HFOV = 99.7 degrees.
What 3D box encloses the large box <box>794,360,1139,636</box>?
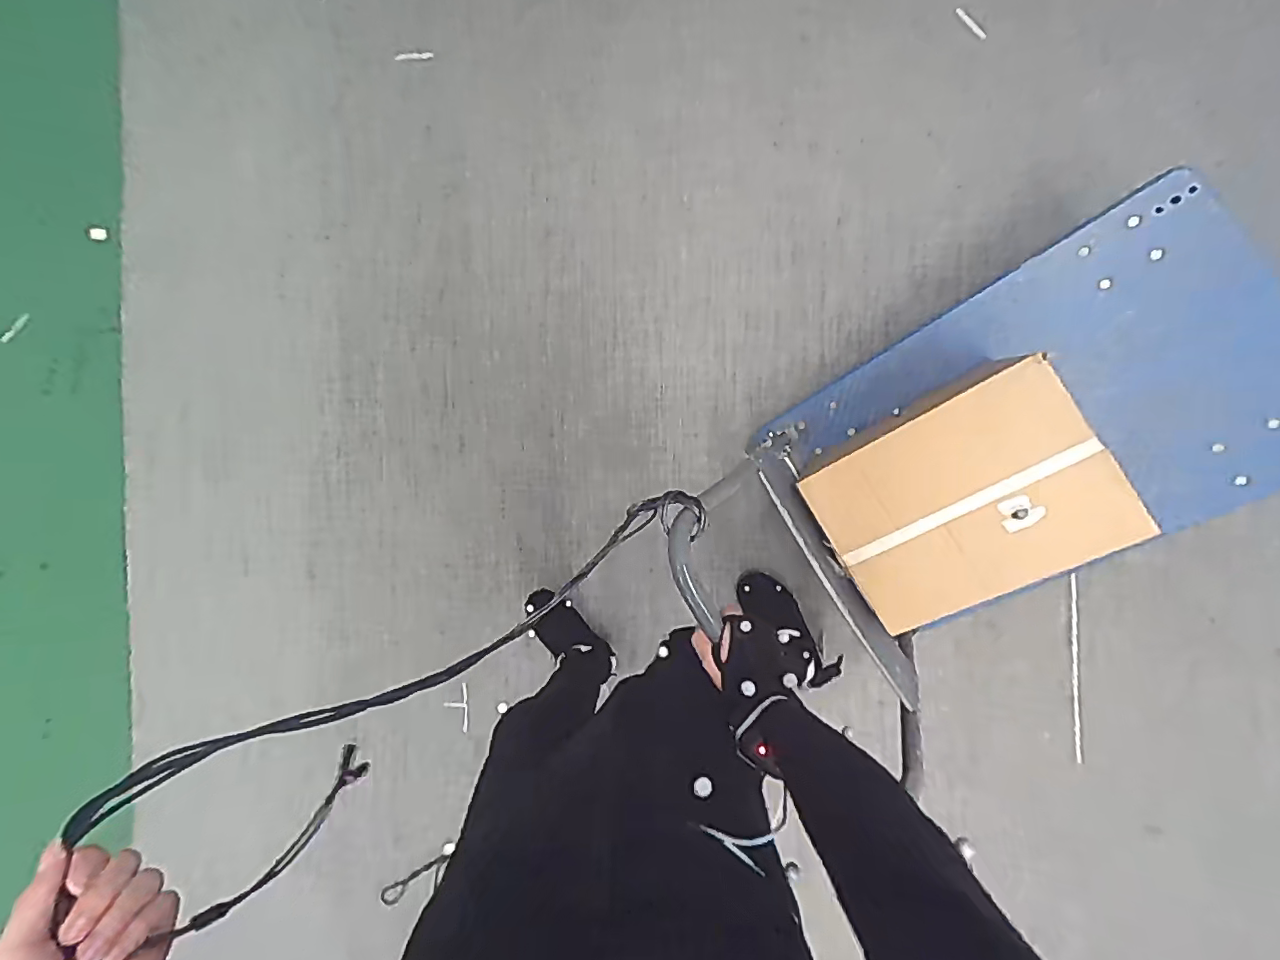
[{"bbox_3d":[0.552,0.026,1.007,0.408,0.320,0.320,-31,88,23],"label":"large box"}]
